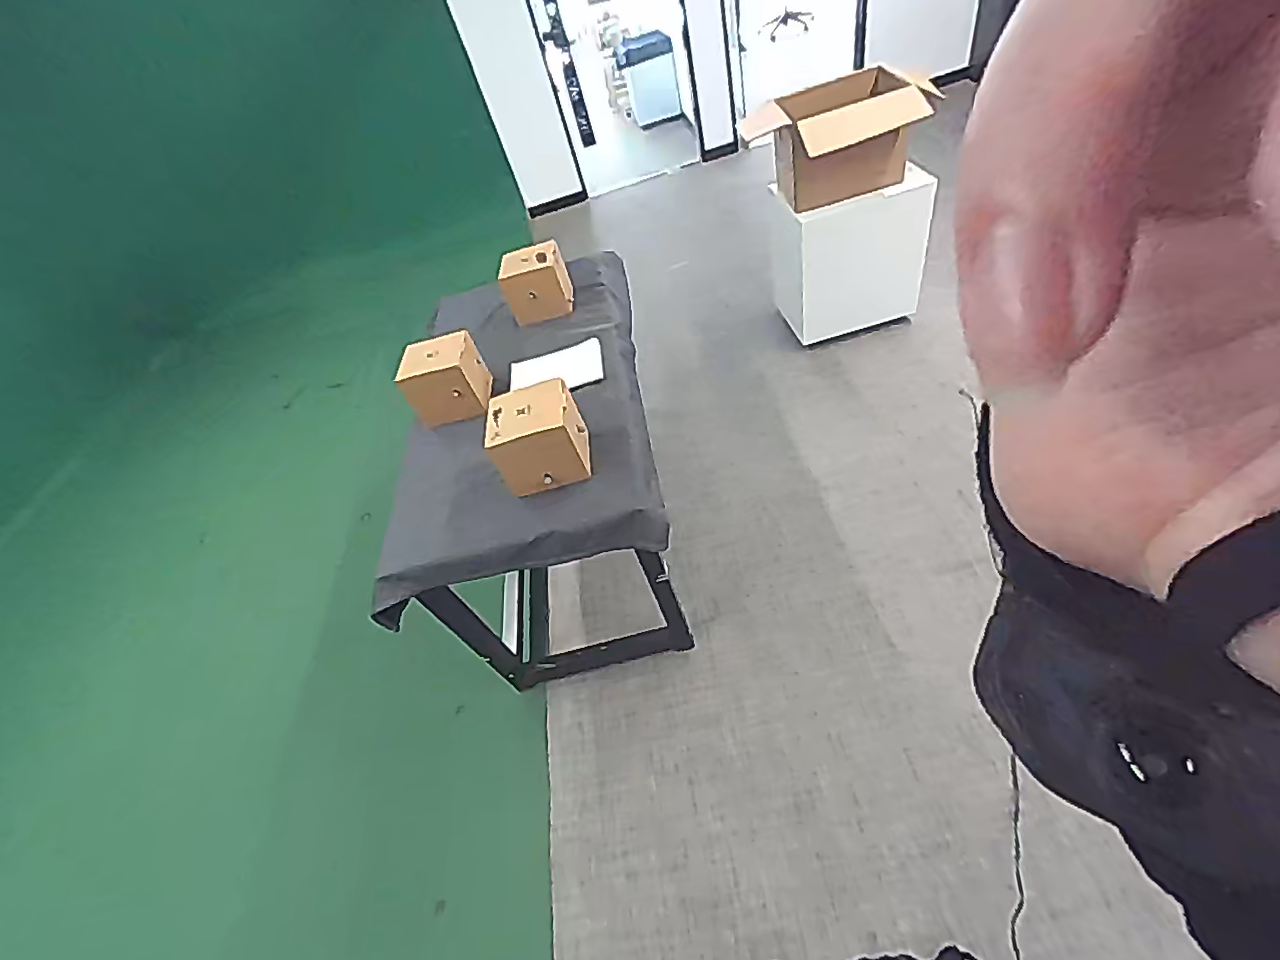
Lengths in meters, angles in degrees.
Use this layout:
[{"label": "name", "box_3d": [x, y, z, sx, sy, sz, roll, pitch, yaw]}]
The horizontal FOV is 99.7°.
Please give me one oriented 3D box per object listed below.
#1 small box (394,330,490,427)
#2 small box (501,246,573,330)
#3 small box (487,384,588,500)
[{"label": "small box", "box_3d": [-0.518, -0.268, 1.445, 0.179, 0.176, 0.168, -14, 46, 6]}, {"label": "small box", "box_3d": [-0.315, -0.598, 1.695, 0.179, 0.176, 0.168, -12, 47, 8]}, {"label": "small box", "box_3d": [-0.218, -0.081, 1.201, 0.179, 0.176, 0.168, -14, 46, 5]}]
